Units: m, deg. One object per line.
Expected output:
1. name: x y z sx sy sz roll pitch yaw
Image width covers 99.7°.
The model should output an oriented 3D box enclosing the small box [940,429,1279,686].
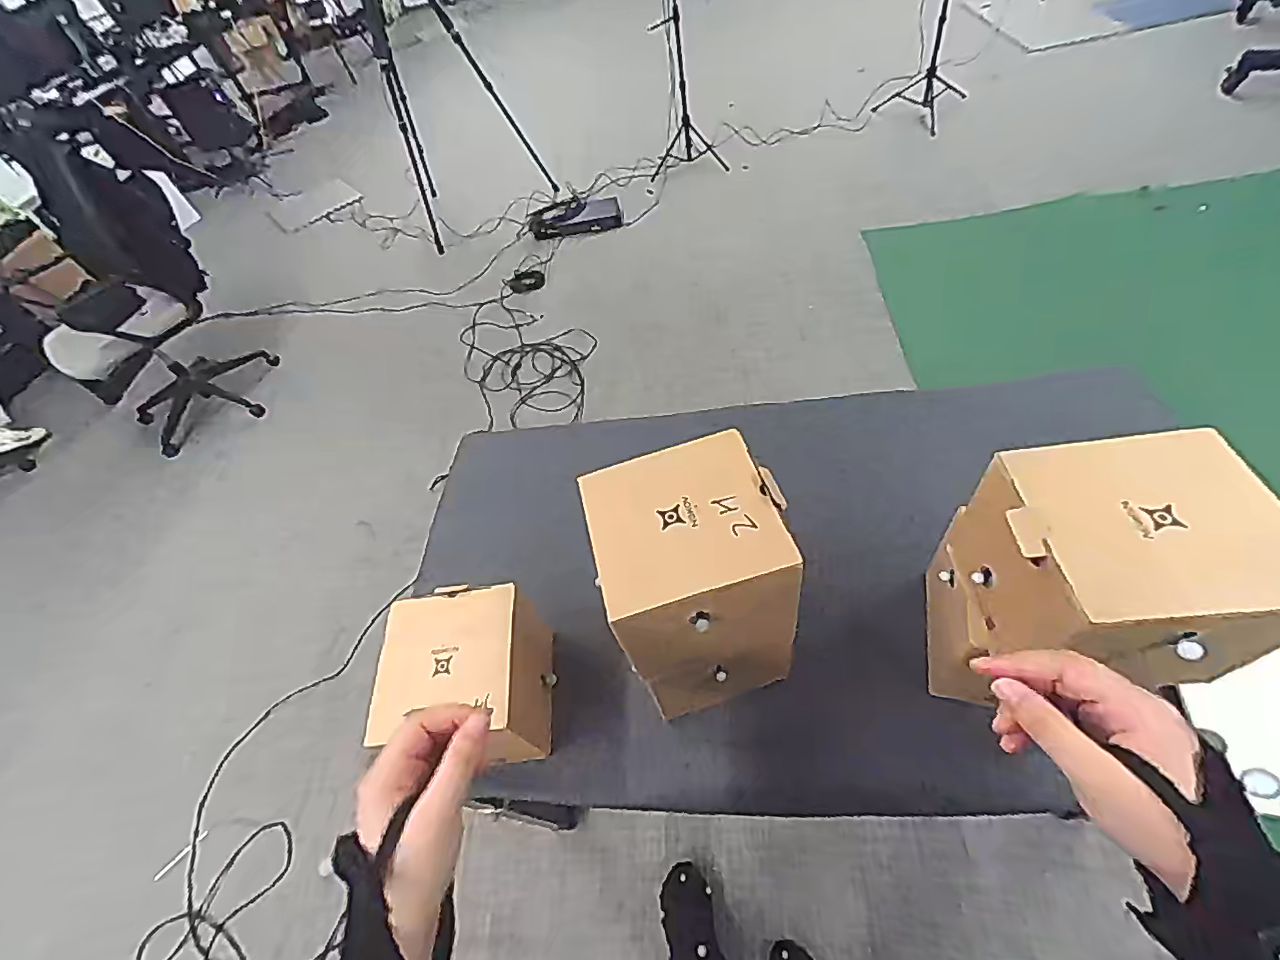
1. small box: 0.409 0.078 0.495 0.179 0.176 0.168 -8 52 8

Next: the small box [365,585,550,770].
1. small box: -0.221 0.262 0.709 0.168 0.176 0.179 -10 53 4

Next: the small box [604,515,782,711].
1. small box: 0.071 0.179 0.707 0.179 0.176 0.168 -19 53 -3

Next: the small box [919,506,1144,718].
1. small box: 0.436 0.156 0.639 0.168 0.176 0.179 6 56 18
